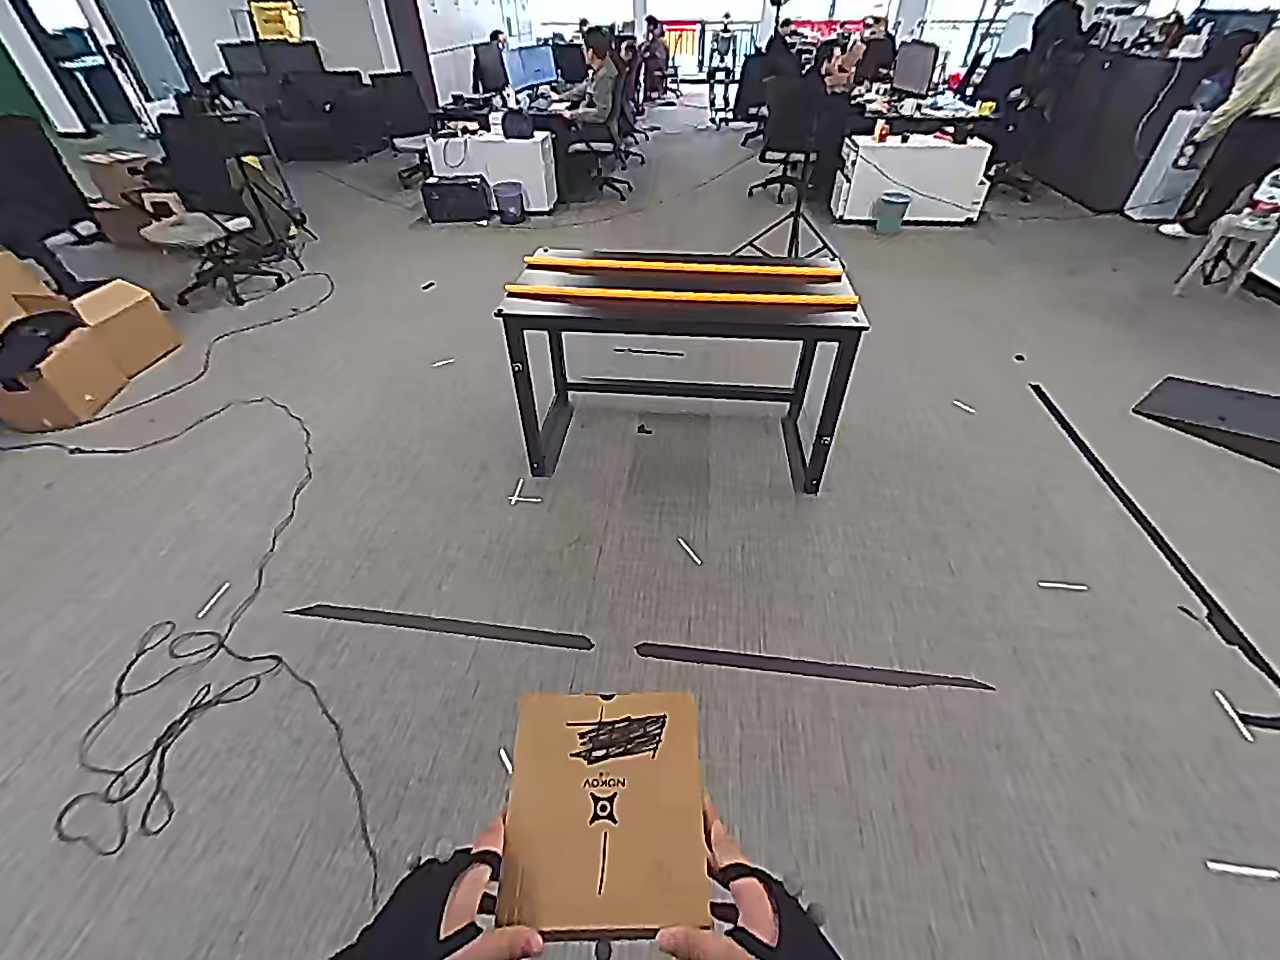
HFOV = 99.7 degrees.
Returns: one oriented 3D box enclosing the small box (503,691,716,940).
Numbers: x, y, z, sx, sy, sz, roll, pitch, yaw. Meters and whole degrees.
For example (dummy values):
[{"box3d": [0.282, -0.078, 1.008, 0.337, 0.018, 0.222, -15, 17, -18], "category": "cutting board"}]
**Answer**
[{"box3d": [-0.023, 0.324, 0.522, 0.168, 0.176, 0.179, -2, 47, 0], "category": "small box"}]
